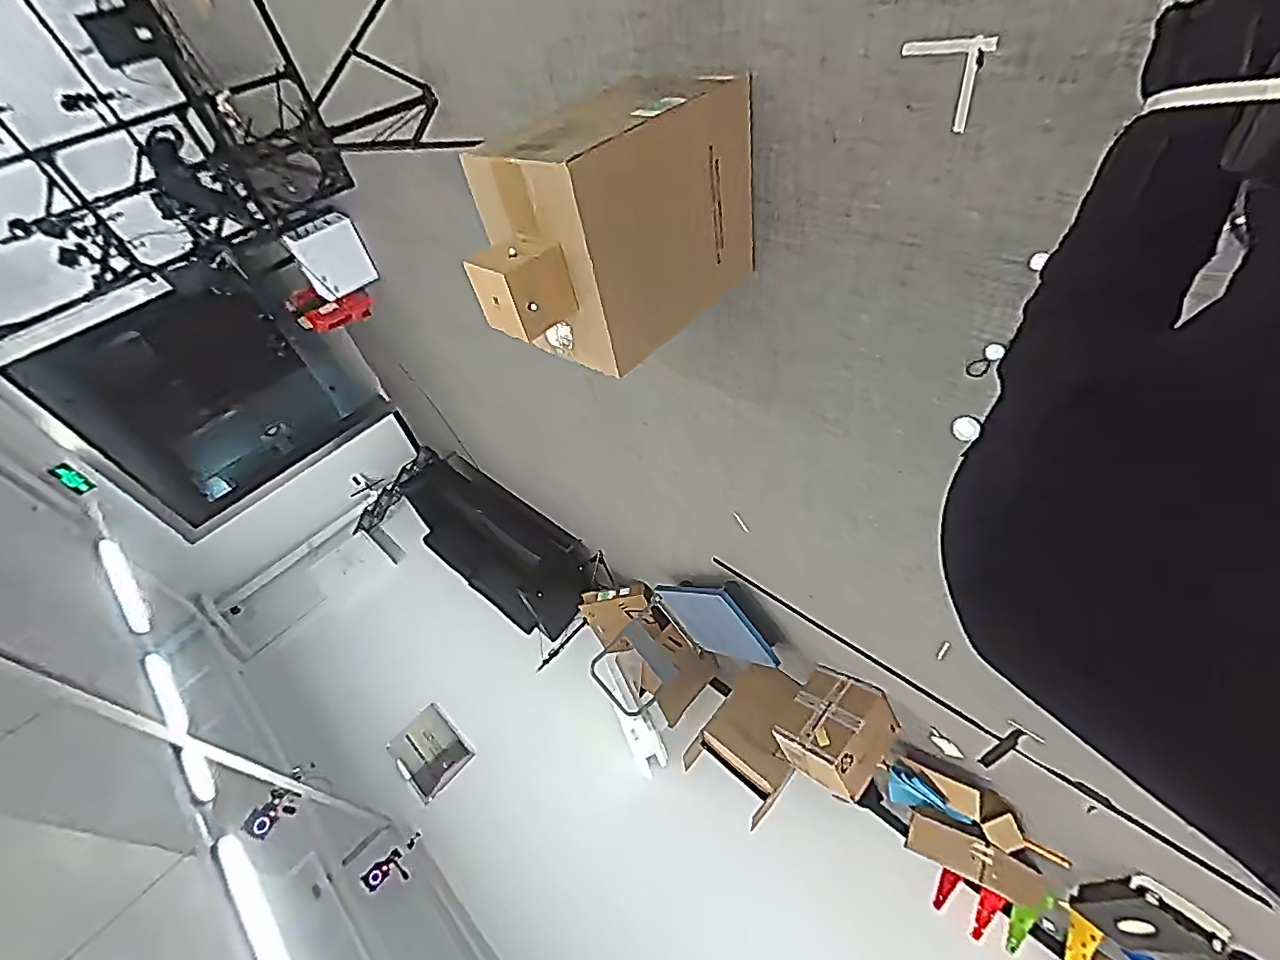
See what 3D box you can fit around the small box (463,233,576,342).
[{"bbox_3d":[-0.281,-0.466,1.293,0.168,0.176,0.179,29,150,34],"label":"small box"}]
